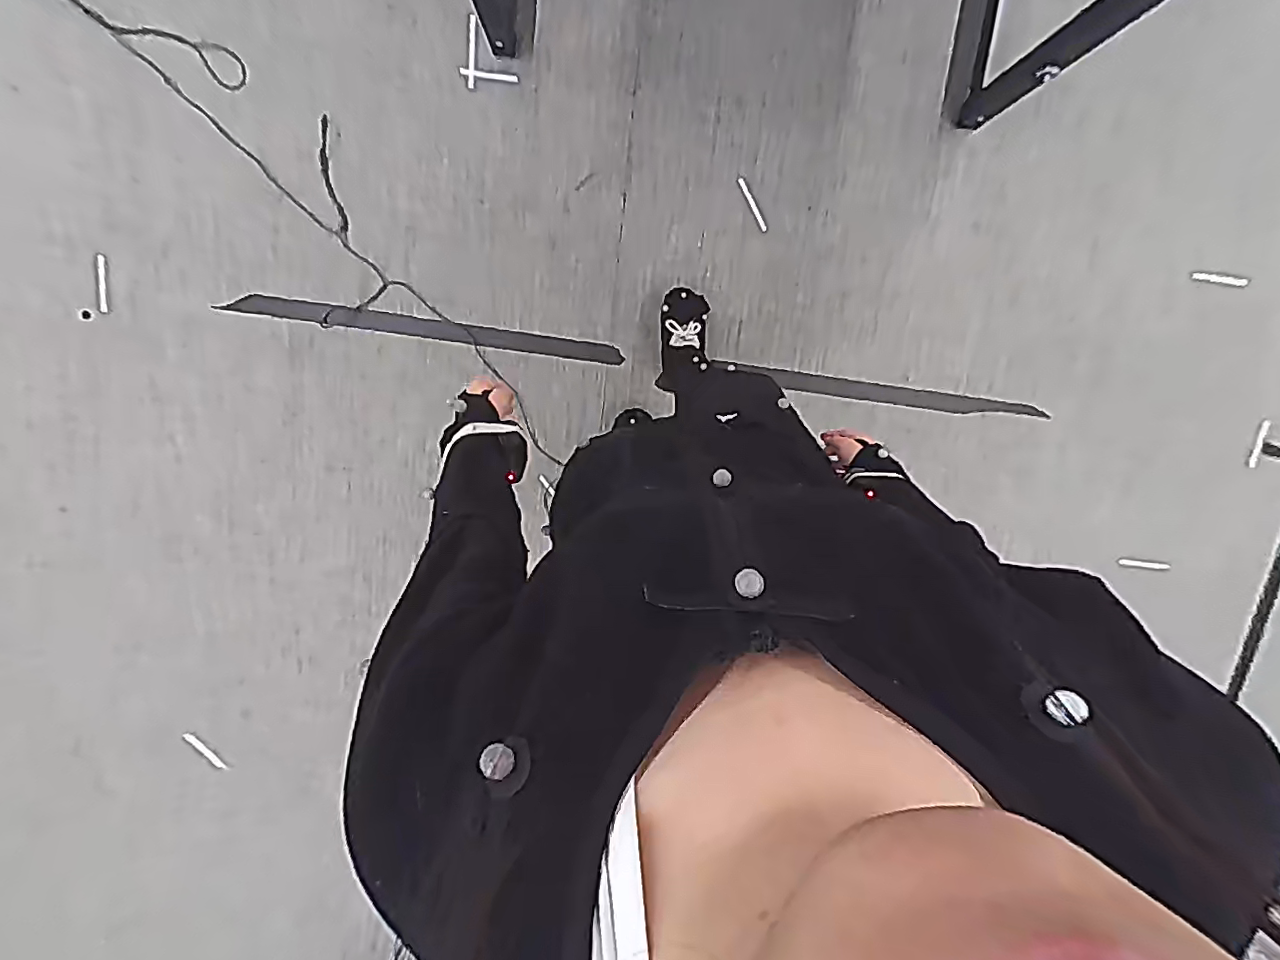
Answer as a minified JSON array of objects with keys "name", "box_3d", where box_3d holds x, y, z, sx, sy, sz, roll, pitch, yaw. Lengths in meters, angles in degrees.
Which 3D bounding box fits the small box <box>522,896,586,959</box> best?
[{"name":"small box","box_3d":[-0.240,1.314,1.521,0.168,0.176,0.179,3,102,-2]}]

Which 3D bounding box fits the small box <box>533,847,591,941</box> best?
[{"name":"small box","box_3d":[-0.240,1.281,1.682,0.168,0.176,0.179,2,103,-2]}]
